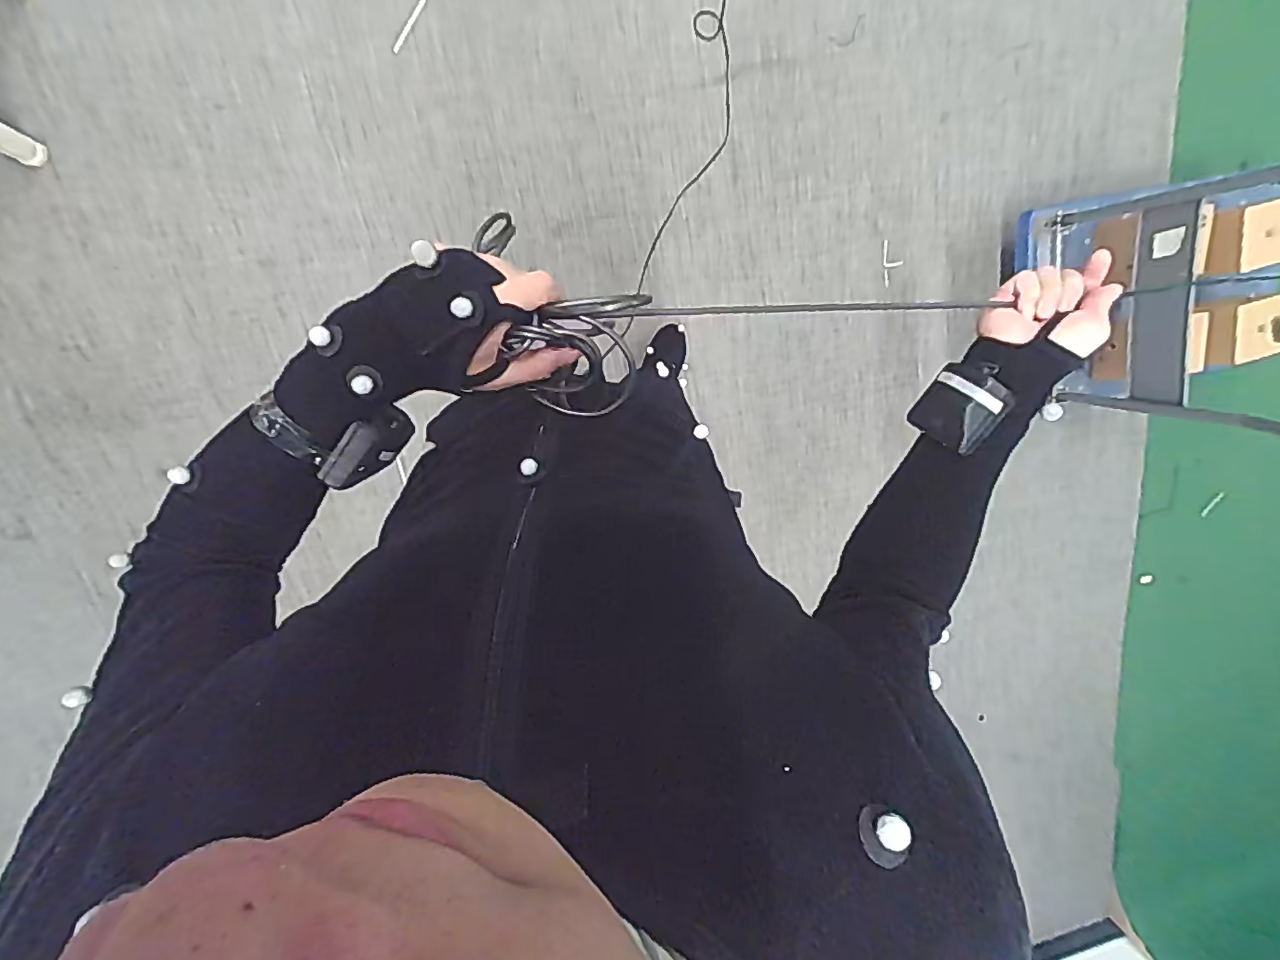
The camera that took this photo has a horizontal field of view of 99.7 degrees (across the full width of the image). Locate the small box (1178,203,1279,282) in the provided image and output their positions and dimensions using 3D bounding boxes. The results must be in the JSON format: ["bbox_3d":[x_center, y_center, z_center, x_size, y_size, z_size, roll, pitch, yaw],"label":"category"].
[{"bbox_3d":[1.656,-0.657,1.502,0.179,0.176,0.168,-16,107,-5],"label":"small box"}]

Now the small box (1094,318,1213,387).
[{"bbox_3d":[1.455,-0.366,1.541,0.179,0.176,0.168,-11,105,-6],"label":"small box"}]

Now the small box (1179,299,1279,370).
[{"bbox_3d":[1.718,-0.422,1.569,0.179,0.176,0.168,-15,105,-4],"label":"small box"}]
